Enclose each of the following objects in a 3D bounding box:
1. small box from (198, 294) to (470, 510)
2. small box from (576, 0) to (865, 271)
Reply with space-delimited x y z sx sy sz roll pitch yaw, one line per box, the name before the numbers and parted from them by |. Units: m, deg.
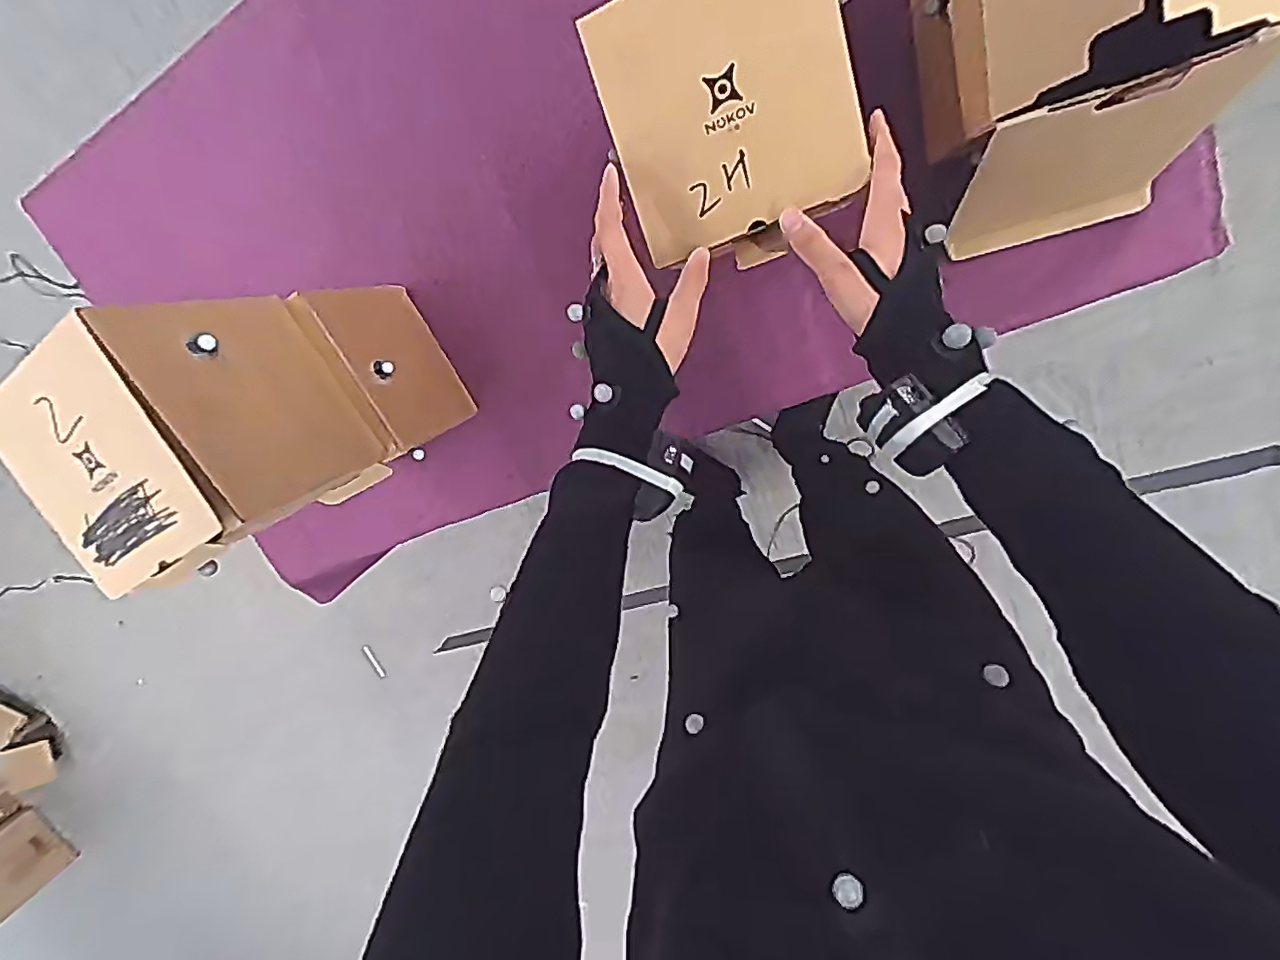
small box | -0.331 -0.096 0.623 0.168 0.176 0.179 -23 105 20
small box | 0.072 -0.287 0.449 0.168 0.176 0.179 -14 108 19
